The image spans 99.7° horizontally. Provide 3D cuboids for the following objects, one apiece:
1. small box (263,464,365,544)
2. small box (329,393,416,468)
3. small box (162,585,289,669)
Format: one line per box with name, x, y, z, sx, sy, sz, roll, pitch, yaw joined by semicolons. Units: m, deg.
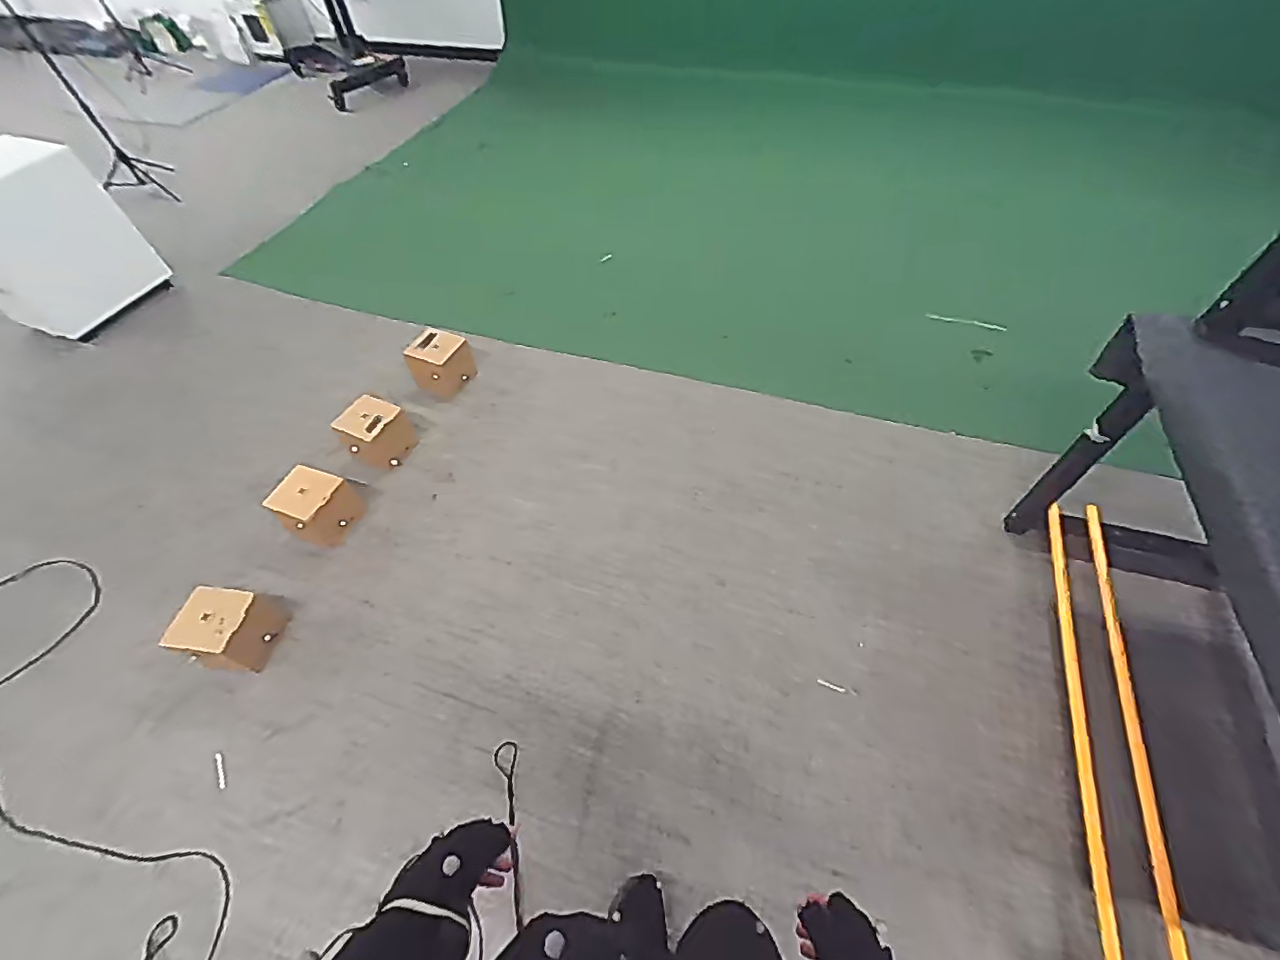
small box;-1.007;0.078;1.686;0.179;0.176;0.168;15;56;12
small box;-0.909;-0.166;1.859;0.179;0.176;0.168;20;56;17
small box;-1.102;0.399;1.454;0.179;0.176;0.168;5;55;6
